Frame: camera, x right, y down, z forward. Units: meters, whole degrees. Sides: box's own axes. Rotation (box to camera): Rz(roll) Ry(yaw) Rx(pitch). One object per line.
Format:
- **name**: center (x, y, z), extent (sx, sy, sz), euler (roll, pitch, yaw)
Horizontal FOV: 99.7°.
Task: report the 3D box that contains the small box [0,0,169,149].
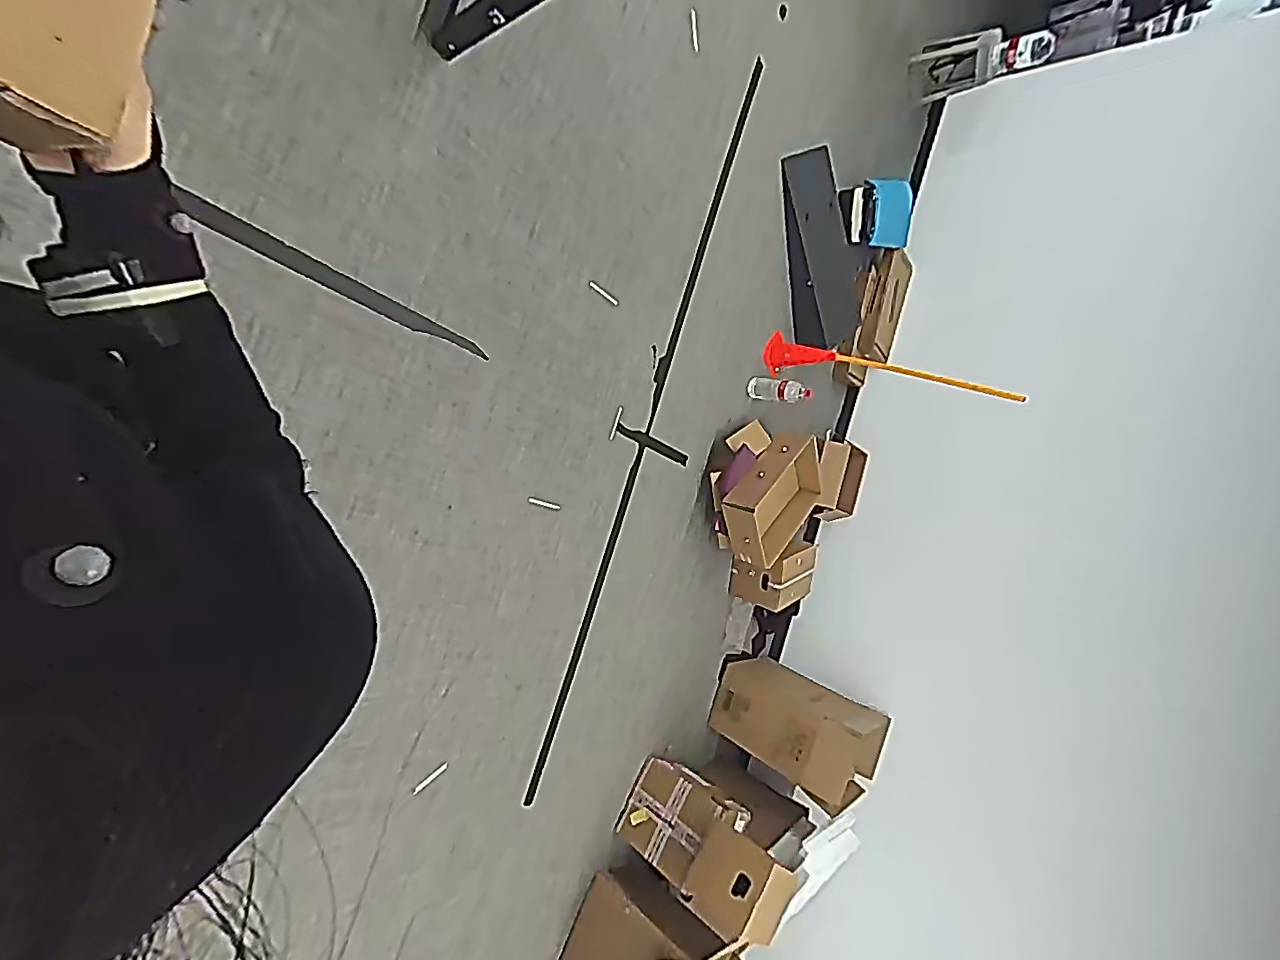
- **small box**: center (-0.307, -0.262, 0.209), extent (0.168, 0.176, 0.179), euler (19, 91, -61)
